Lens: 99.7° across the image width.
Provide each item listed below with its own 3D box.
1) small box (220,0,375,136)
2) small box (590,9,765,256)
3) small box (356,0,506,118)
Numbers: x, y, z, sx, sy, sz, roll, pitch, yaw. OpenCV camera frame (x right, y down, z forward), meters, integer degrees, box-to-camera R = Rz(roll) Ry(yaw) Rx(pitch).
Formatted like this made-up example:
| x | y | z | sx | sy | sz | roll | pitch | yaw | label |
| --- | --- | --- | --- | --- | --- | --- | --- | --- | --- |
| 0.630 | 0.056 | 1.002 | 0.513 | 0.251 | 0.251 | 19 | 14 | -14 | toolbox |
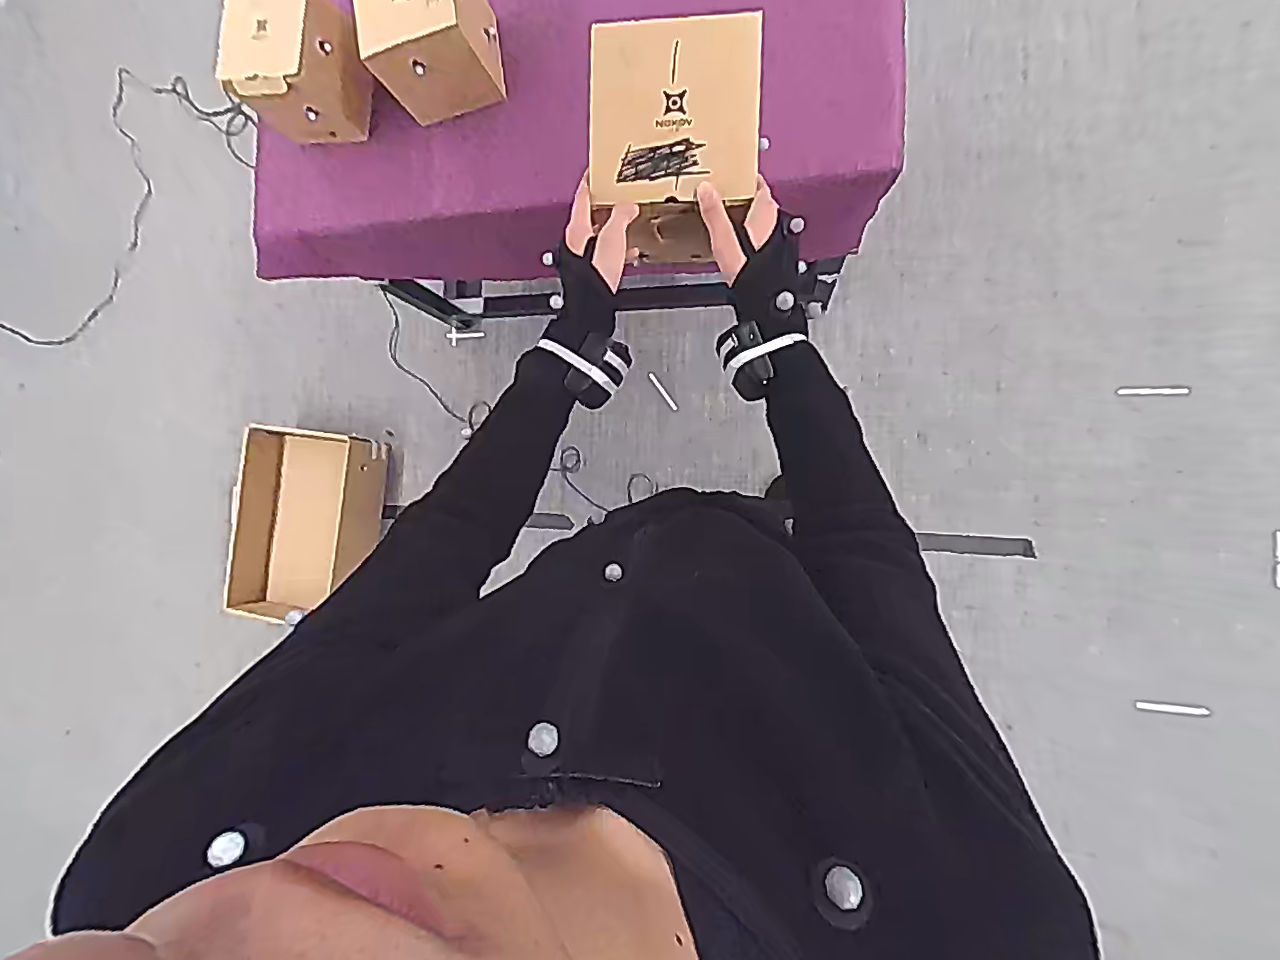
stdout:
| x | y | z | sx | sy | sz | roll | pitch | yaw | label |
| --- | --- | --- | --- | --- | --- | --- | --- | --- | --- |
| -0.606 | -0.752 | 0.974 | 0.168 | 0.176 | 0.179 | 6 | 90 | 11 | small box |
| 0.044 | -0.359 | 0.597 | 0.168 | 0.176 | 0.179 | 2 | 93 | 7 | small box |
| -0.351 | -0.761 | 0.919 | 0.179 | 0.176 | 0.168 | -8 | 88 | 12 | small box |
